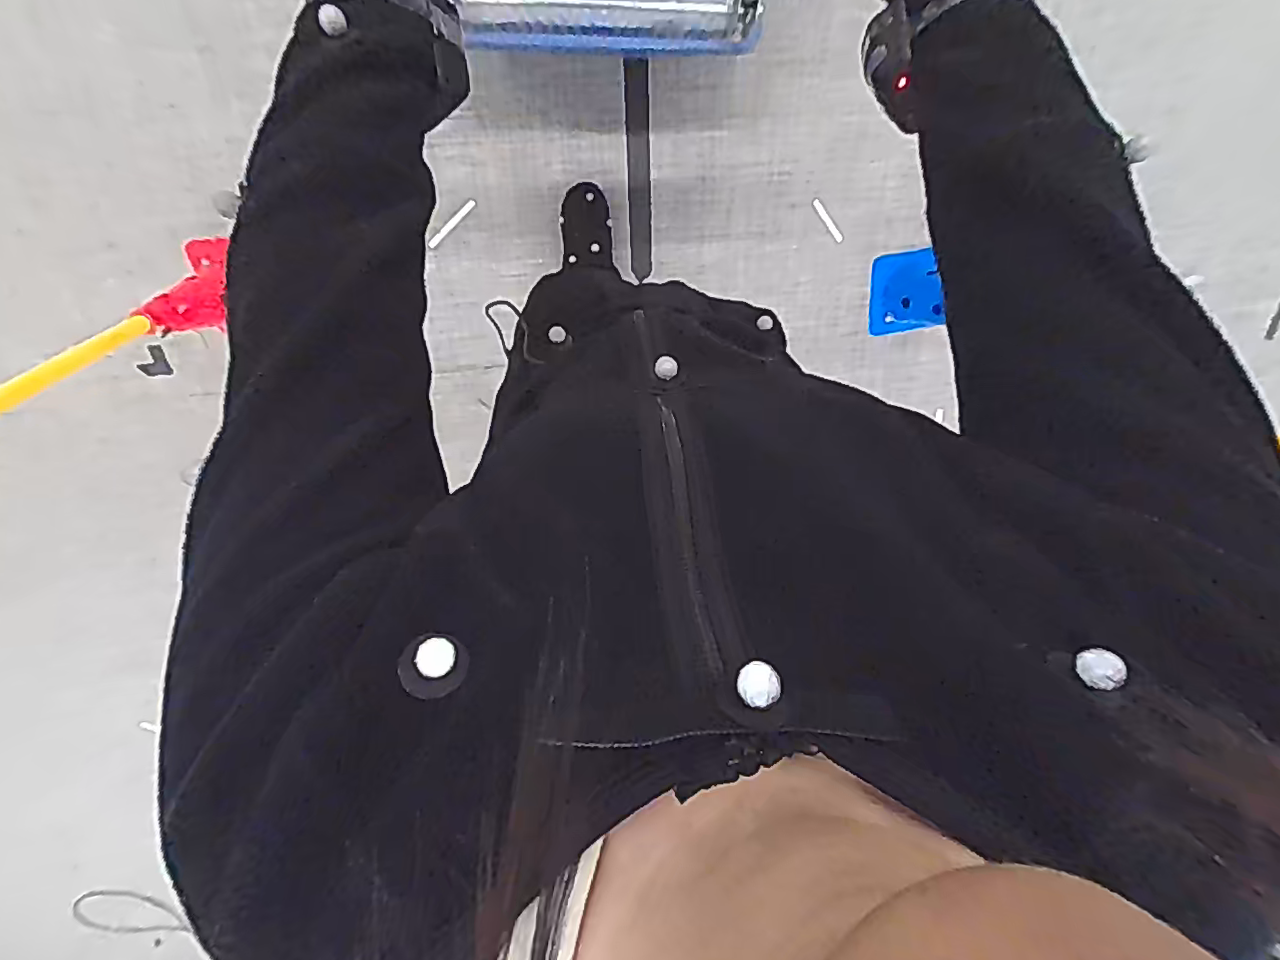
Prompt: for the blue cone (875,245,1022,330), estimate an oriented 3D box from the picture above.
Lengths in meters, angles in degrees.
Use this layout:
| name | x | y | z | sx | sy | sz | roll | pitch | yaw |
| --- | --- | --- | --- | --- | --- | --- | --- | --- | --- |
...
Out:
| name | x | y | z | sx | sy | sz | roll | pitch | yaw |
| --- | --- | --- | --- | --- | --- | --- | --- | --- | --- |
| blue cone | 0.709 | -0.408 | 1.225 | 0.193 | 0.380 | 0.192 | -10 | 118 | -4 |
